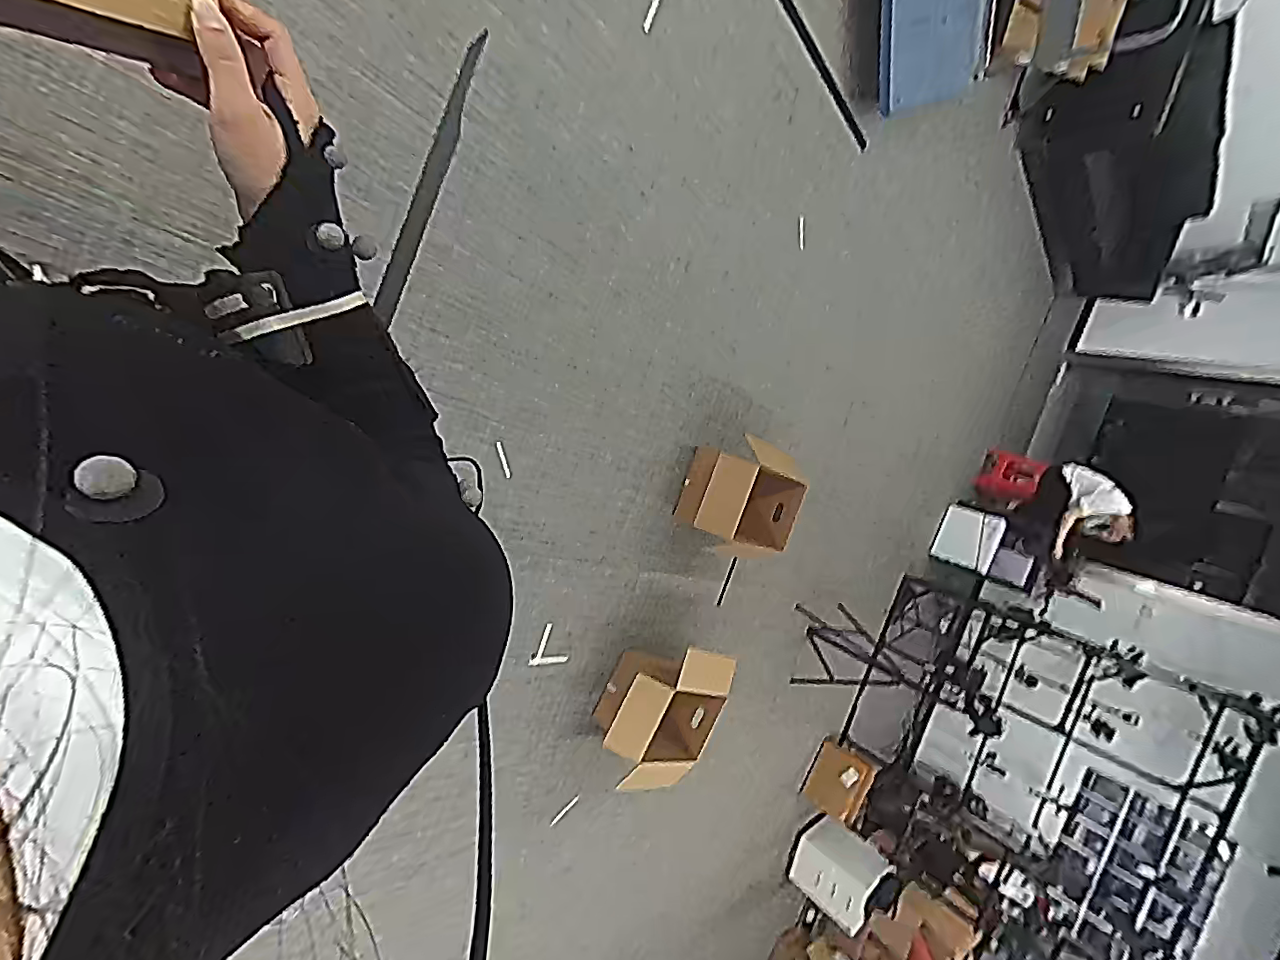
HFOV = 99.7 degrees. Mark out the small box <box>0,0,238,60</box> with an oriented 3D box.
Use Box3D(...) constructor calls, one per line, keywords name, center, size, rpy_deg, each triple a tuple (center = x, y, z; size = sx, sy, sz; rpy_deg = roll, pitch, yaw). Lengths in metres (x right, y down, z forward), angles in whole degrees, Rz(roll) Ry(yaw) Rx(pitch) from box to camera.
Box3D(name="small box", center=(-0.327, -0.322, 0.253), size=(0.179, 0.176, 0.168), rpy_deg=(-19, 127, -47))
